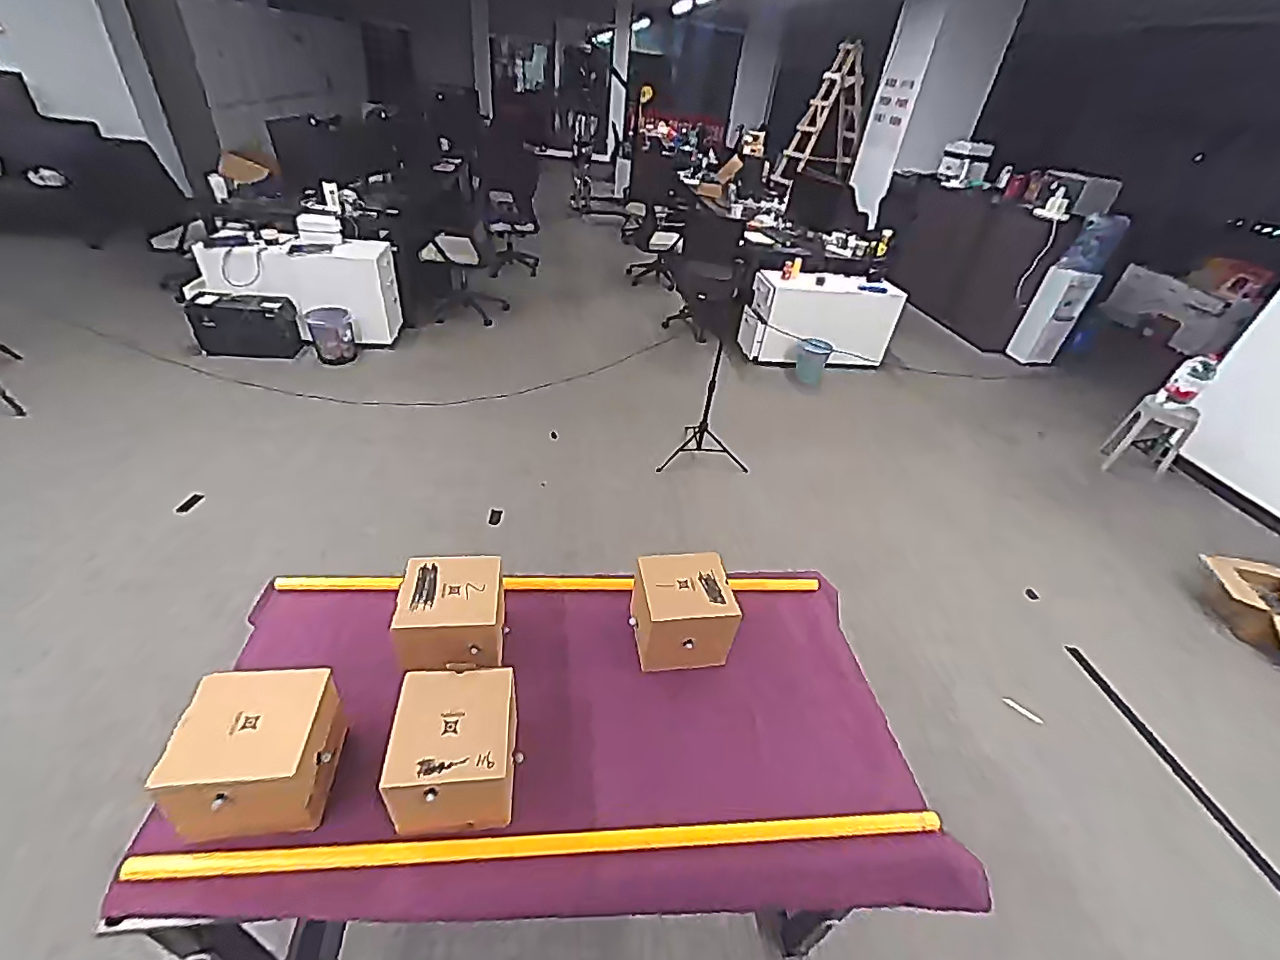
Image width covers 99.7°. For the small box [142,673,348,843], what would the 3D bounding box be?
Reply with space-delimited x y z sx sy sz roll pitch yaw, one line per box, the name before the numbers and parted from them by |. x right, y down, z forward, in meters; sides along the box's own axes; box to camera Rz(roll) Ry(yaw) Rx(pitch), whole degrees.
small box | -0.558 0.408 0.800 0.179 0.176 0.168 0 37 -10

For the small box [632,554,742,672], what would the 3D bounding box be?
small box | 0.087 0.269 1.097 0.179 0.176 0.168 -2 38 -10

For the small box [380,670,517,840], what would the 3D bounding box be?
small box | -0.280 0.420 0.834 0.168 0.176 0.179 0 37 -8
